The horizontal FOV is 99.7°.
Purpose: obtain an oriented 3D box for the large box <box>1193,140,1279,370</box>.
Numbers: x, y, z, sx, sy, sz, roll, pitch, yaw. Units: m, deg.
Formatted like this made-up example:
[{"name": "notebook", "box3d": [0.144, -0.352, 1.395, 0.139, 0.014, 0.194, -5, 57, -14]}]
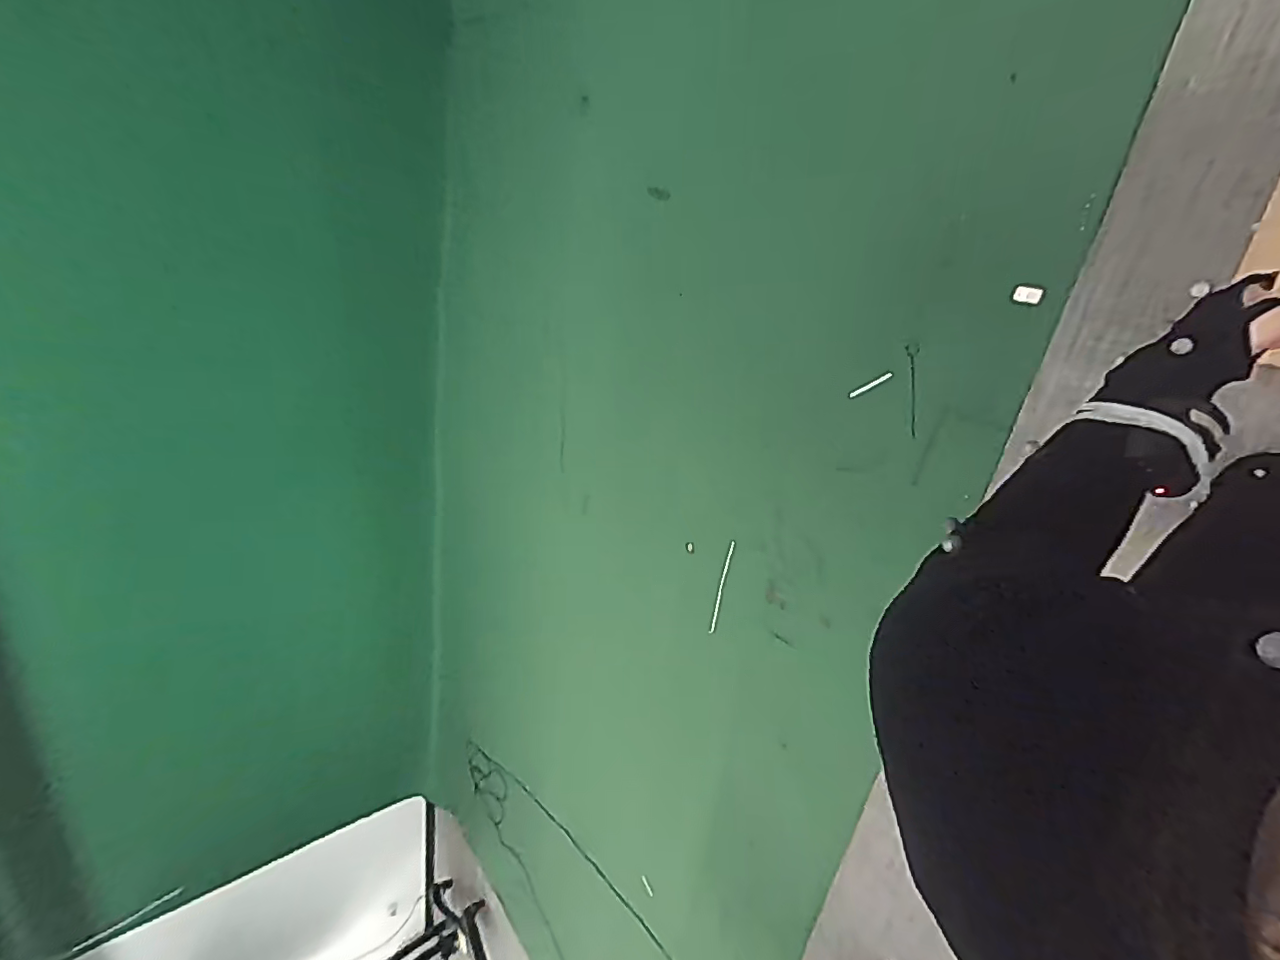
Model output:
[{"name": "large box", "box3d": [1.022, -0.336, 0.700, 0.320, 0.320, 0.408, 27, 116, 43]}]
